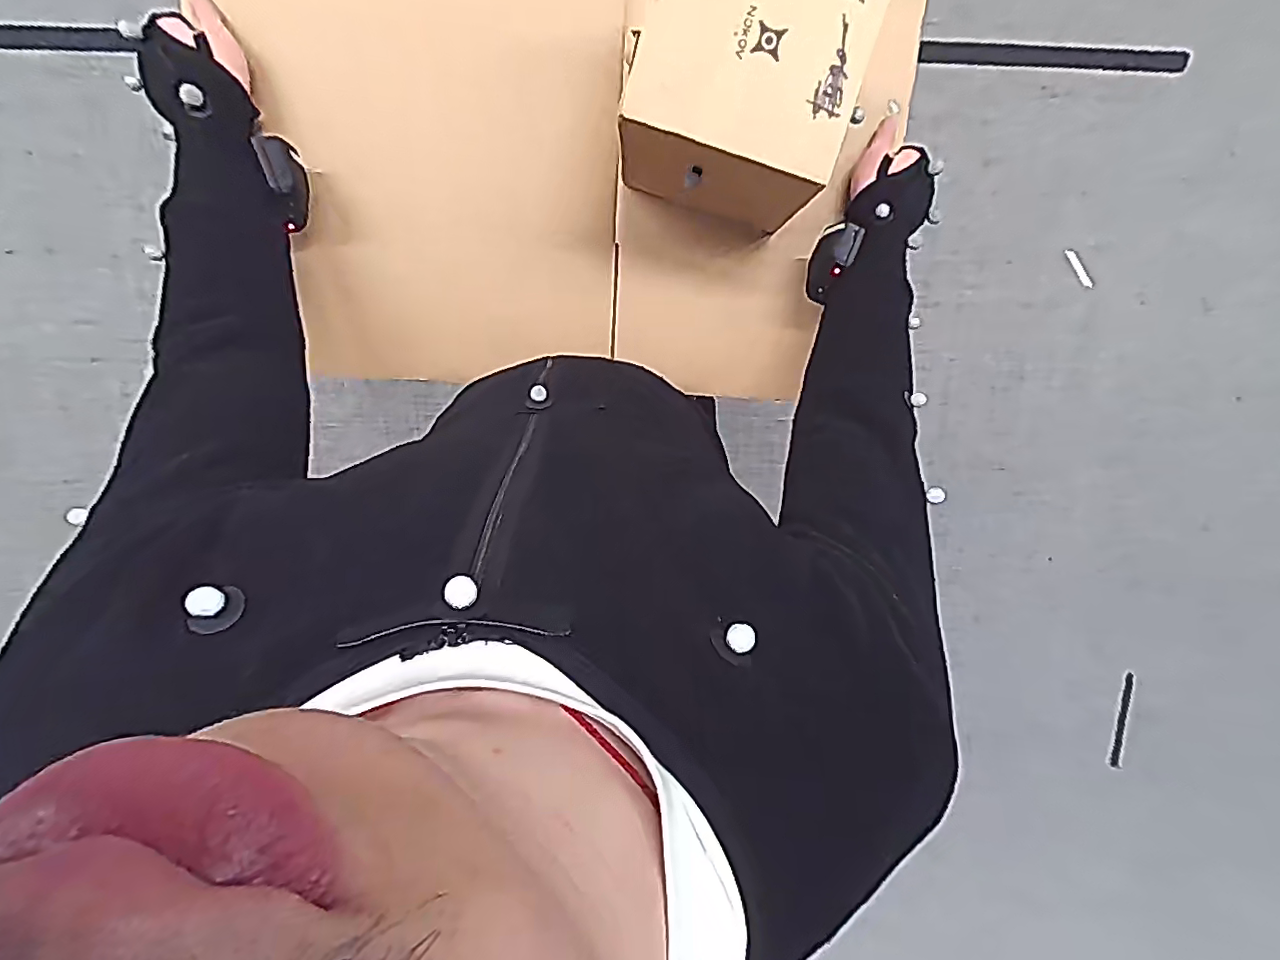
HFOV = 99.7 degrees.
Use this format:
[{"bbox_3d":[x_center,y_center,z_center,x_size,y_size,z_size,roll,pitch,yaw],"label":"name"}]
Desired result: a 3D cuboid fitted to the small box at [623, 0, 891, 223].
[{"bbox_3d":[0.092,-0.356,0.490,0.179,0.176,0.168,17,102,-4],"label":"small box"}]
